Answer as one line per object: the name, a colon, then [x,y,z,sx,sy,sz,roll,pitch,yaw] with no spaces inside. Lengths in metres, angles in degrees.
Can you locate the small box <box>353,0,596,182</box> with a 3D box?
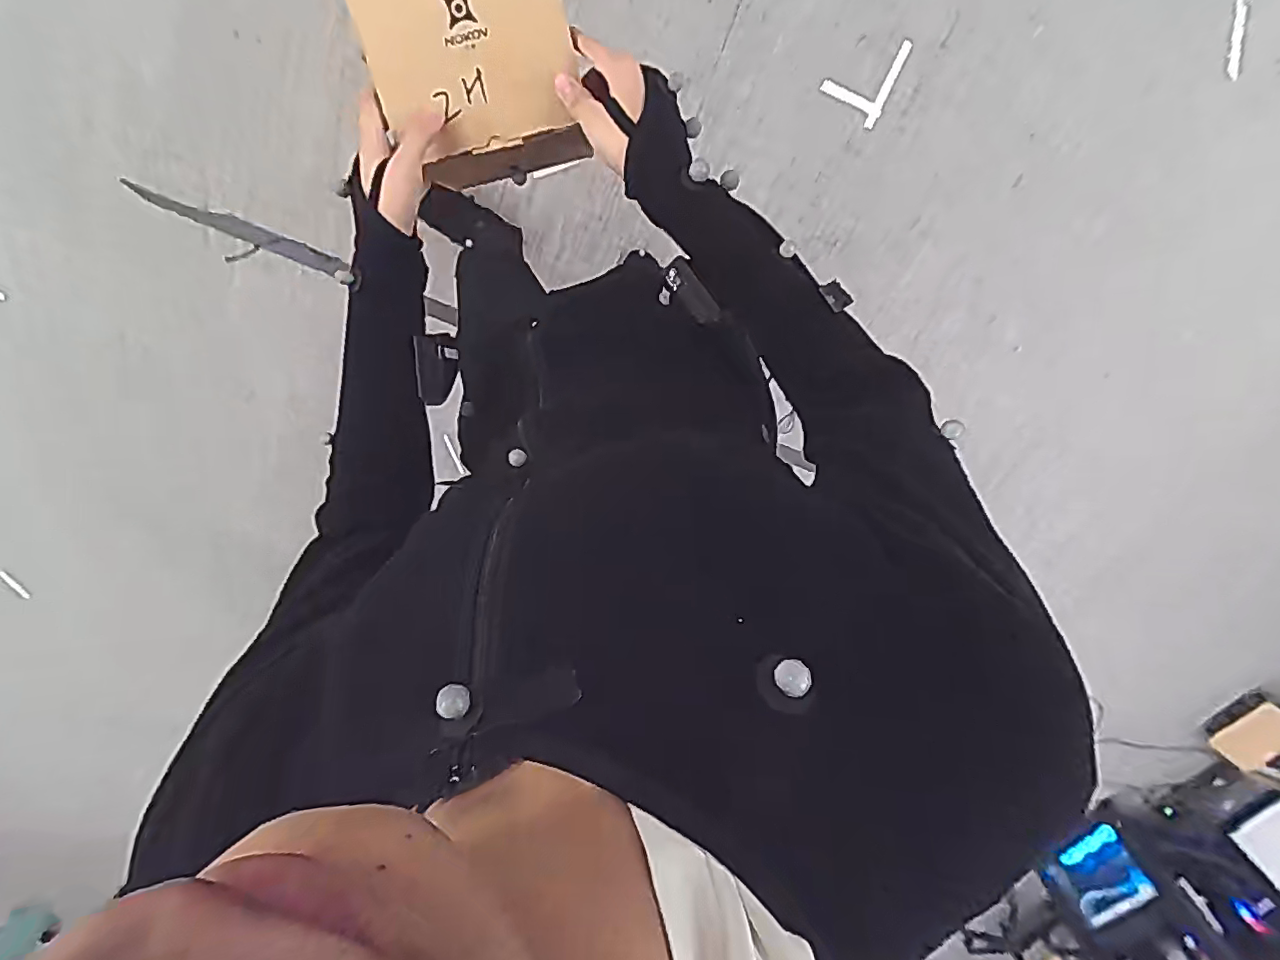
small box: [-0.138,-0.389,0.486,0.168,0.176,0.179,-12,114,2]
